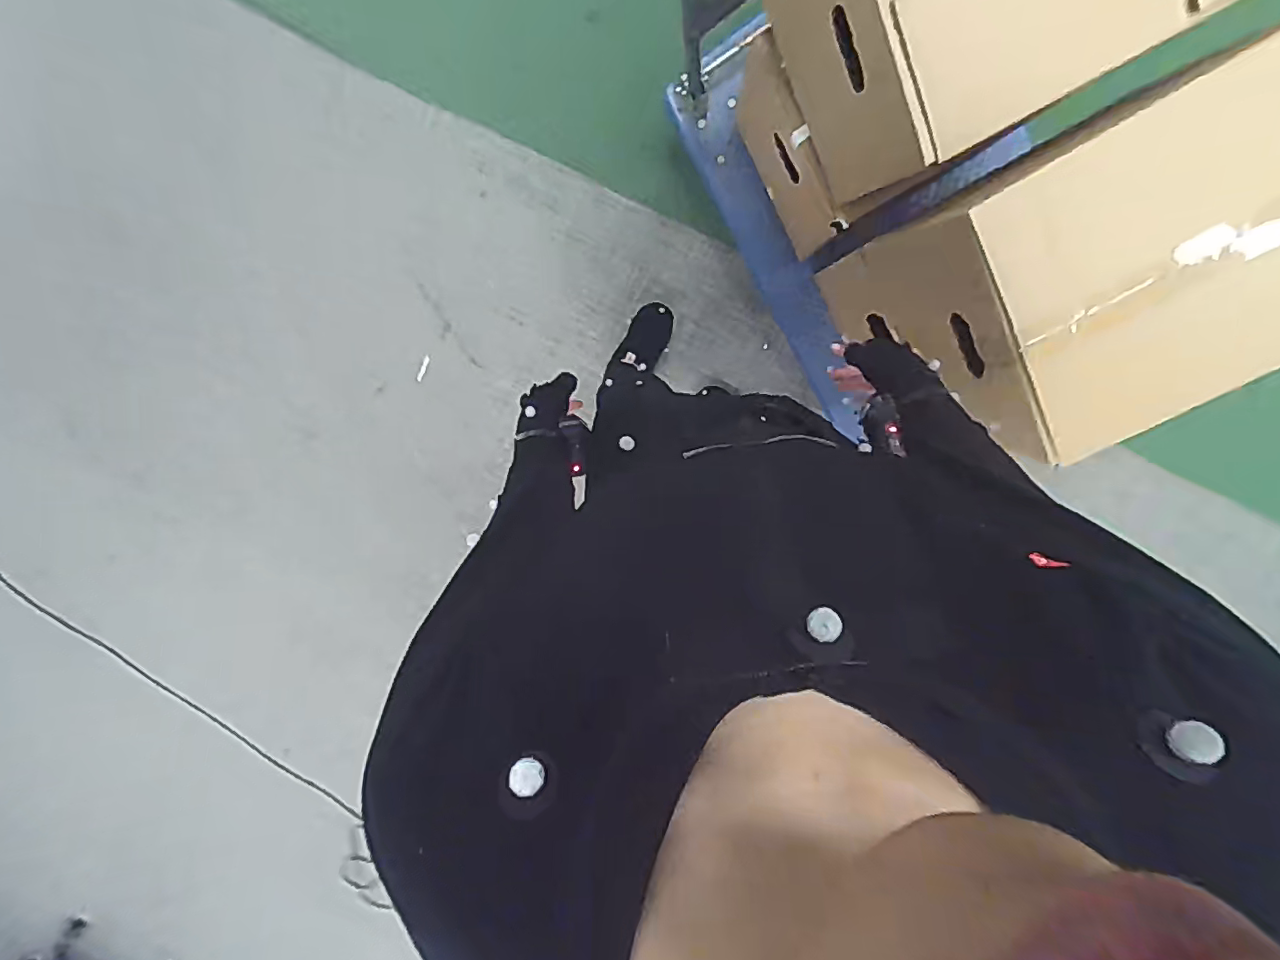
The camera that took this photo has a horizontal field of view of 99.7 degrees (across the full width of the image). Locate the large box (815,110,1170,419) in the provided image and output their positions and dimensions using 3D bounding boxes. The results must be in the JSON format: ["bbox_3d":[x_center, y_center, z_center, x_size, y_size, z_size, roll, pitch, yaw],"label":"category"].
[{"bbox_3d":[0.599,-0.361,1.001,0.408,0.320,0.320,-28,97,13],"label":"large box"}]
